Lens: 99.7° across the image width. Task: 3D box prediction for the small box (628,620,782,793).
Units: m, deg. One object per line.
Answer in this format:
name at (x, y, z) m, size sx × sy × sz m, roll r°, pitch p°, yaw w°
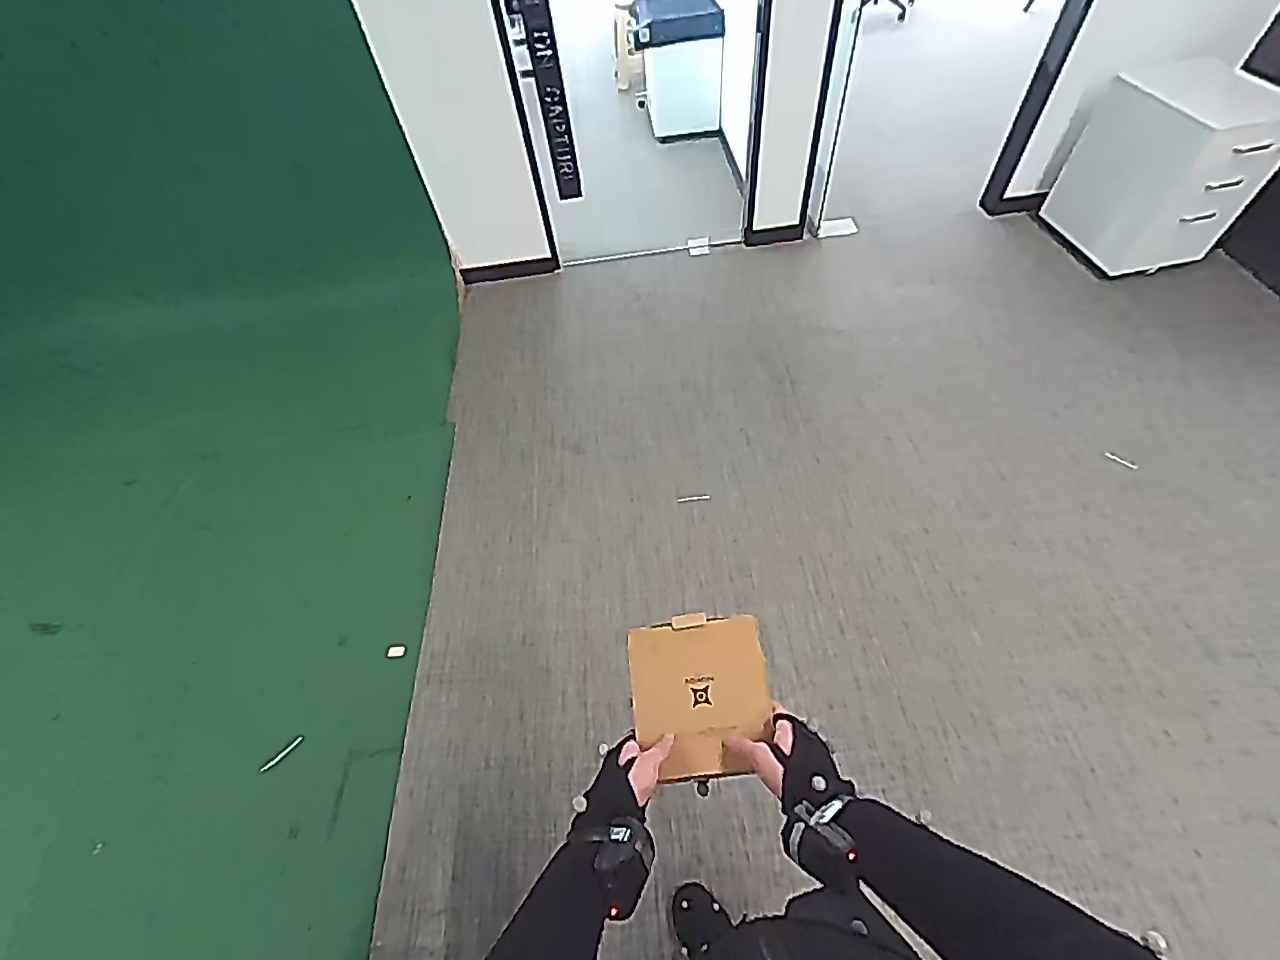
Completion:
small box at (0.077, 0.297, 0.698) m, size 0.168 × 0.176 × 0.179 m, roll -7°, pitch 58°, yaw 4°
